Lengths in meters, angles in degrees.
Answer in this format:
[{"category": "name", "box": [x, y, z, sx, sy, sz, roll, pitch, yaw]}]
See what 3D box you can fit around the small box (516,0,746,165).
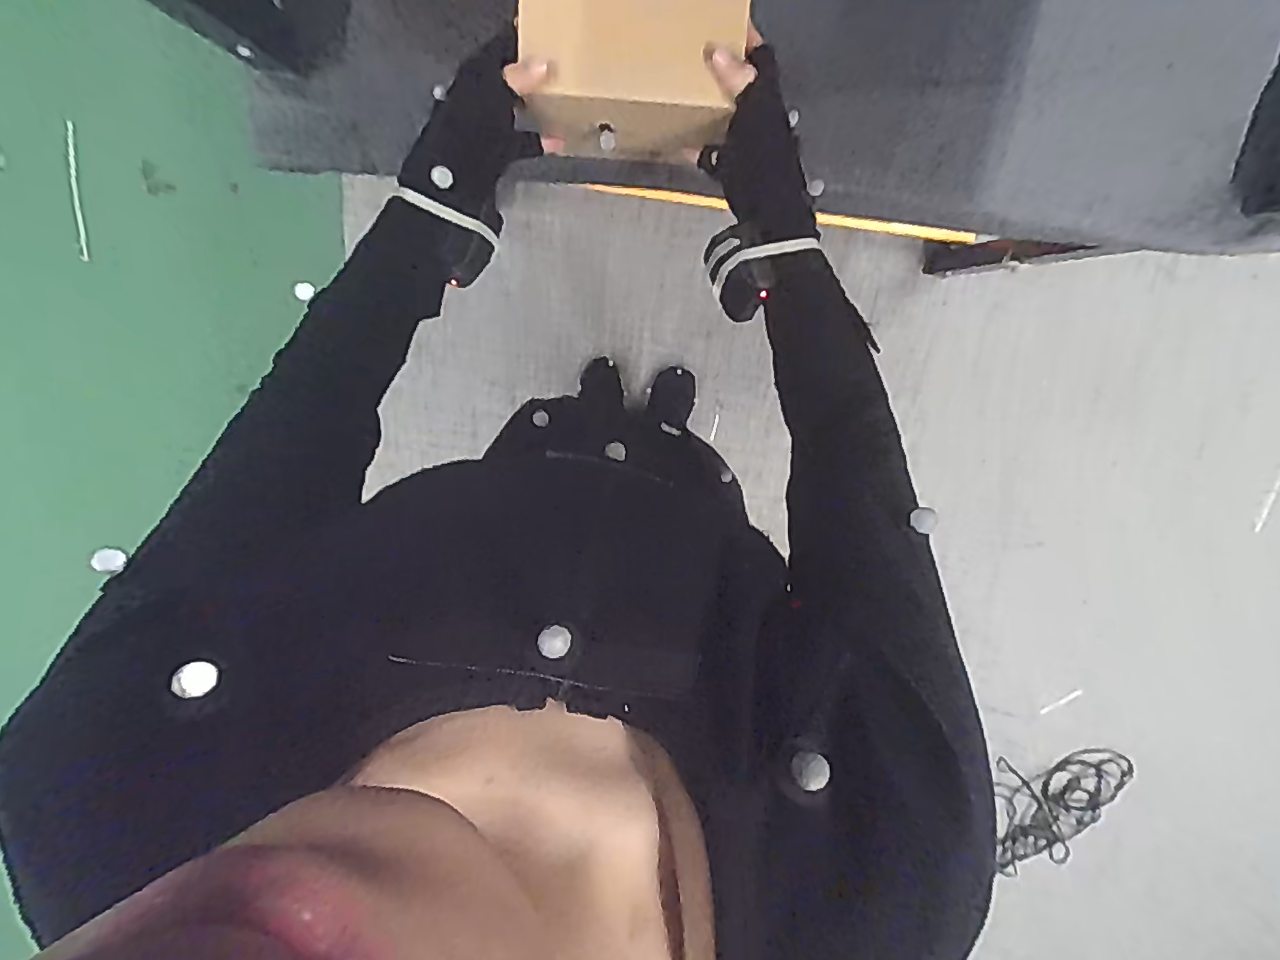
[{"category": "small box", "box": [-0.002, -0.383, 0.451, 0.168, 0.176, 0.179, 4, 105, 0]}]
